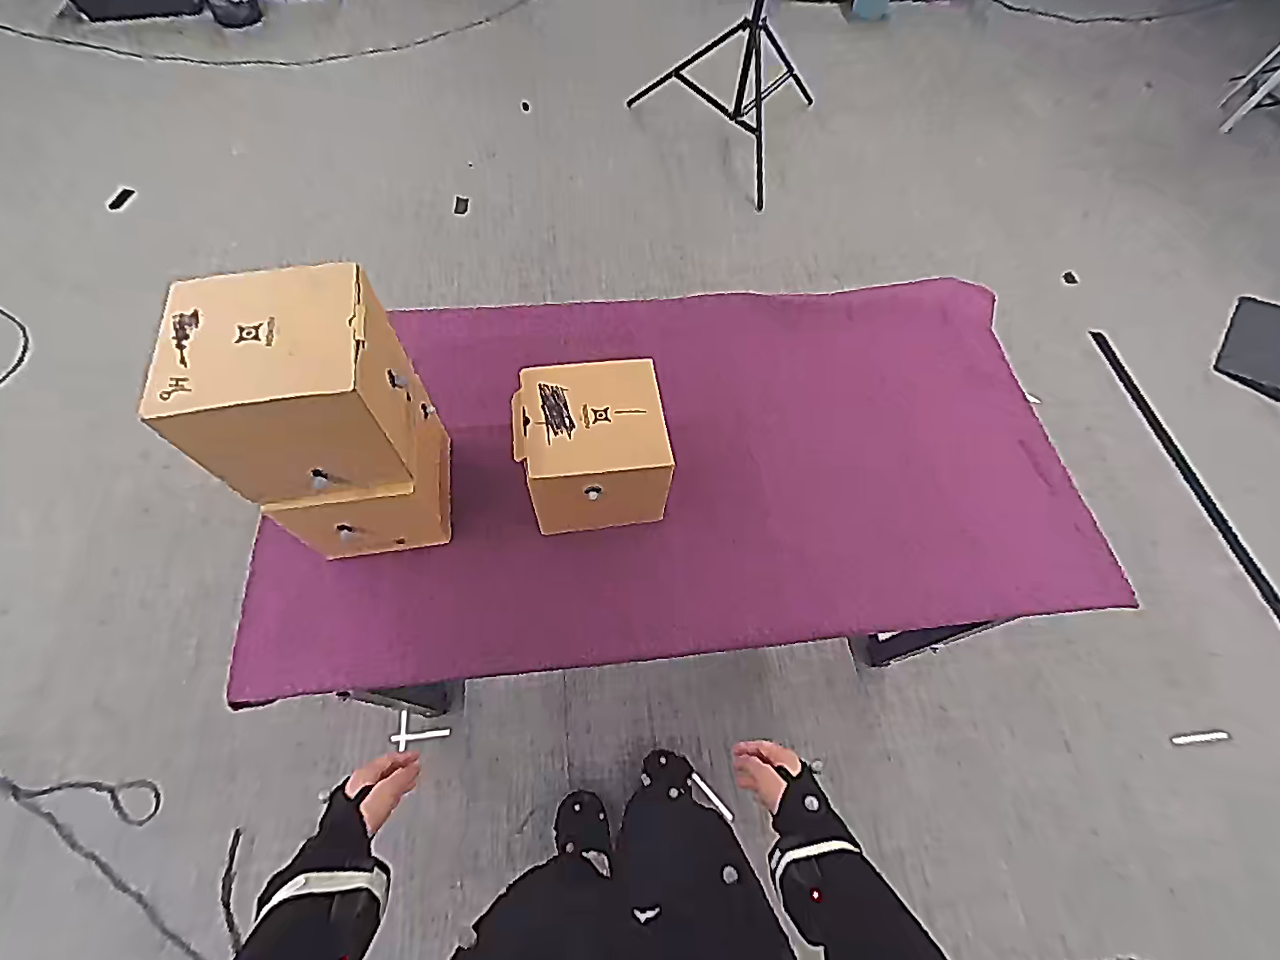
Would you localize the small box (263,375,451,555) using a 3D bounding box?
[{"bbox_3d":[-0.354,-0.010,0.713,0.168,0.176,0.179,-8,63,-7],"label":"small box"}]

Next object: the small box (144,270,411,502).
[{"bbox_3d":[-0.352,-0.092,0.570,0.179,0.176,0.168,-9,62,-9],"label":"small box"}]

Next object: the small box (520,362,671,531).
[{"bbox_3d":[-0.062,-0.039,0.743,0.179,0.176,0.168,-6,63,-7],"label":"small box"}]
